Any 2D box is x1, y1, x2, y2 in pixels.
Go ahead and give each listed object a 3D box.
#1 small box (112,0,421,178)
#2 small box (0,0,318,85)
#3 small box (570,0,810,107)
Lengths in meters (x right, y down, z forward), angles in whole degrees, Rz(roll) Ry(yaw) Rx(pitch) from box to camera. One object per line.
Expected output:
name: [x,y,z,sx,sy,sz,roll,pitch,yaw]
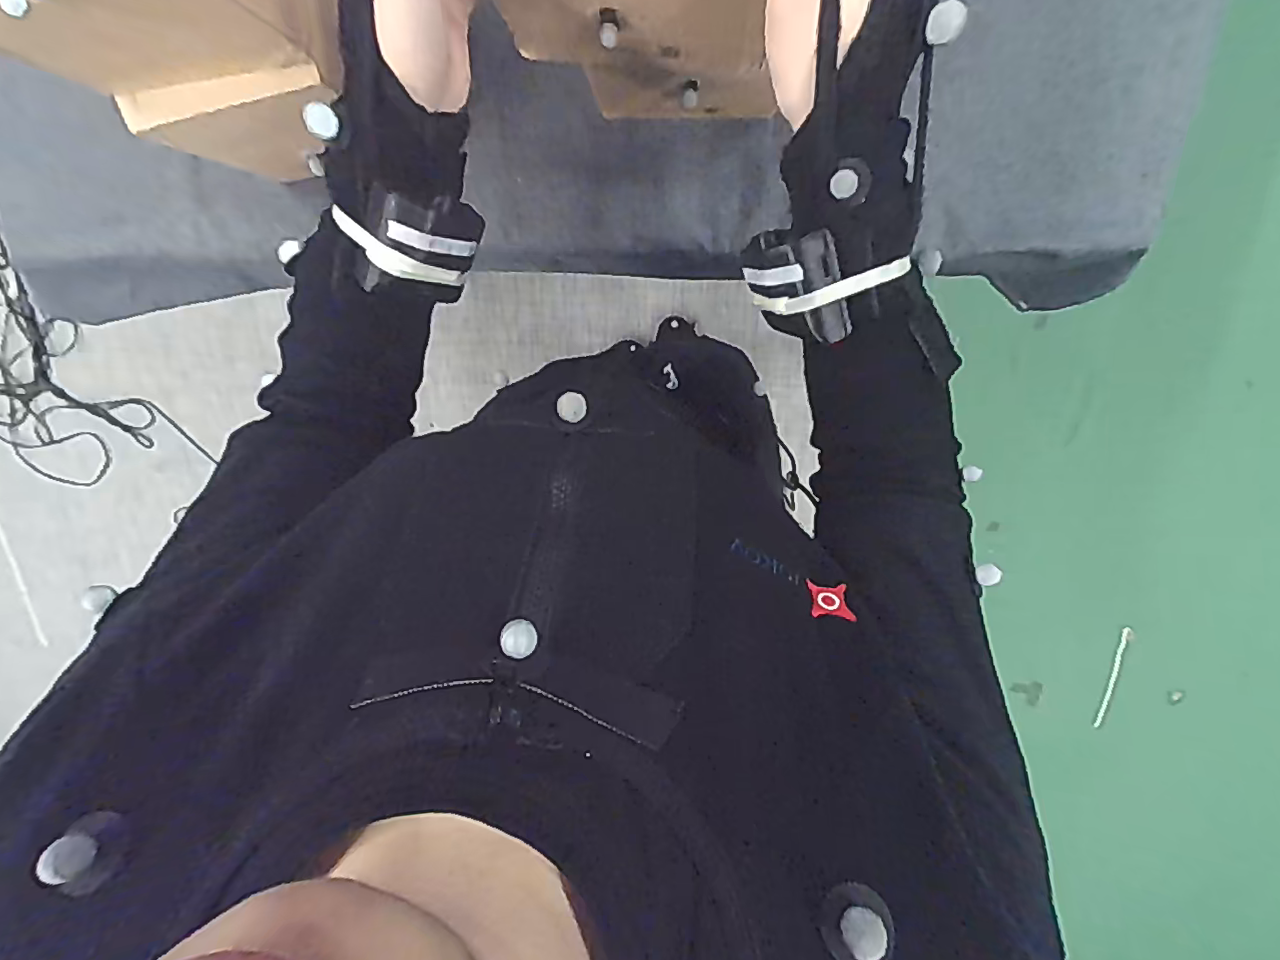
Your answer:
small box: [-0.316,-0.383,0.455,0.168,0.176,0.179,-8,107,7]
small box: [-0.324,-0.347,0.295,0.179,0.176,0.168,-4,107,5]
small box: [0.041,-0.412,0.419,0.168,0.176,0.179,2,108,4]
